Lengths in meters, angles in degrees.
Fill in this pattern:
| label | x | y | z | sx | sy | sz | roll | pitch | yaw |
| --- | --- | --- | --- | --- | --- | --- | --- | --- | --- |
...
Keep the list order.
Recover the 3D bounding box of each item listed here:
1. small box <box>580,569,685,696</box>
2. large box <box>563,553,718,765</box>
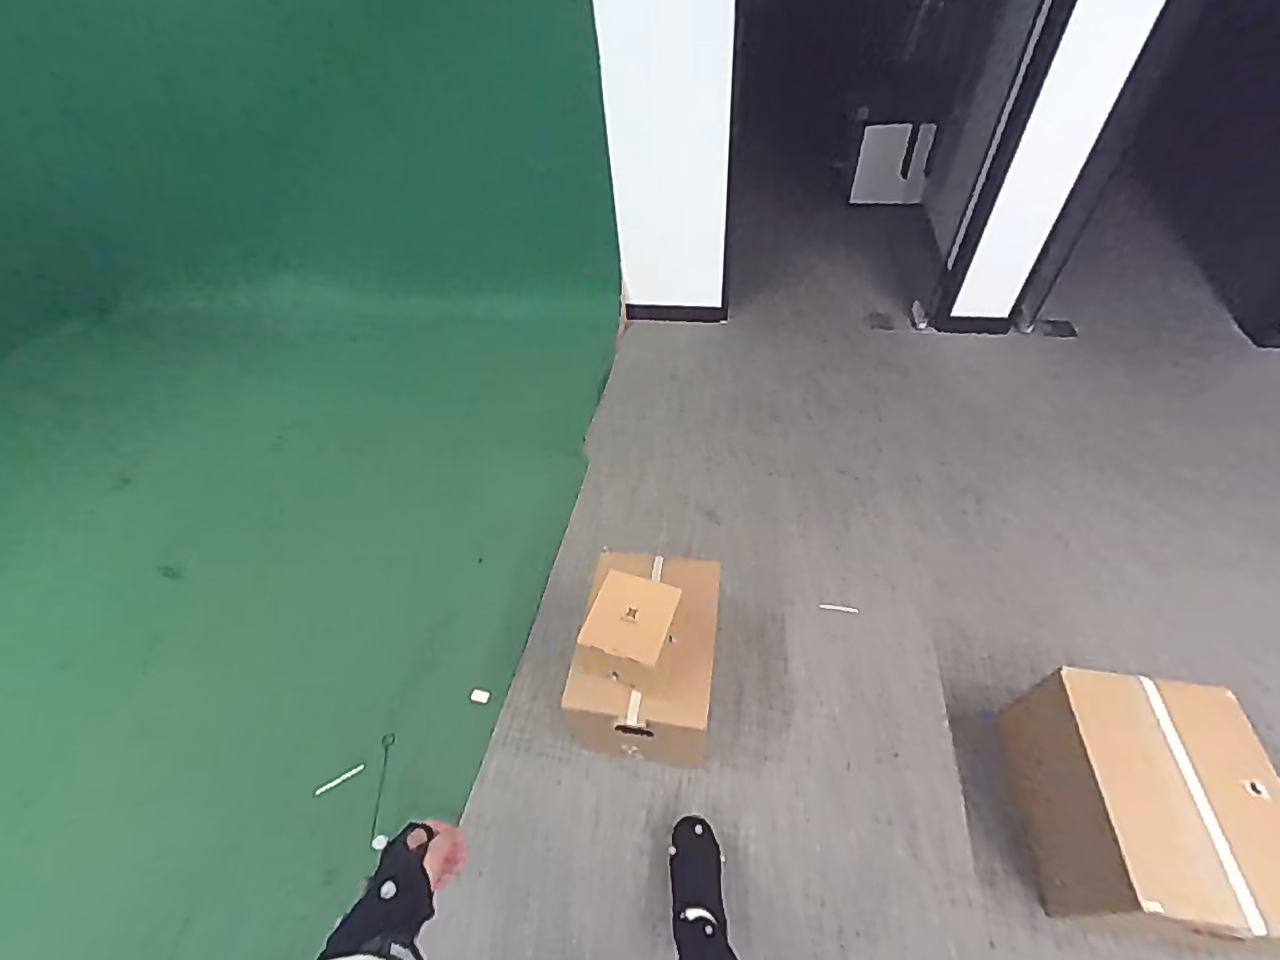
| label | x | y | z | sx | sy | sz | roll | pitch | yaw |
| --- | --- | --- | --- | --- | --- | --- | --- | --- | --- |
| small box | -0.008 | 0.322 | 1.141 | 0.168 | 0.176 | 0.179 | 13 | 52 | 18 |
| large box | 0.027 | 0.443 | 1.356 | 0.320 | 0.320 | 0.408 | 5 | 49 | 10 |
